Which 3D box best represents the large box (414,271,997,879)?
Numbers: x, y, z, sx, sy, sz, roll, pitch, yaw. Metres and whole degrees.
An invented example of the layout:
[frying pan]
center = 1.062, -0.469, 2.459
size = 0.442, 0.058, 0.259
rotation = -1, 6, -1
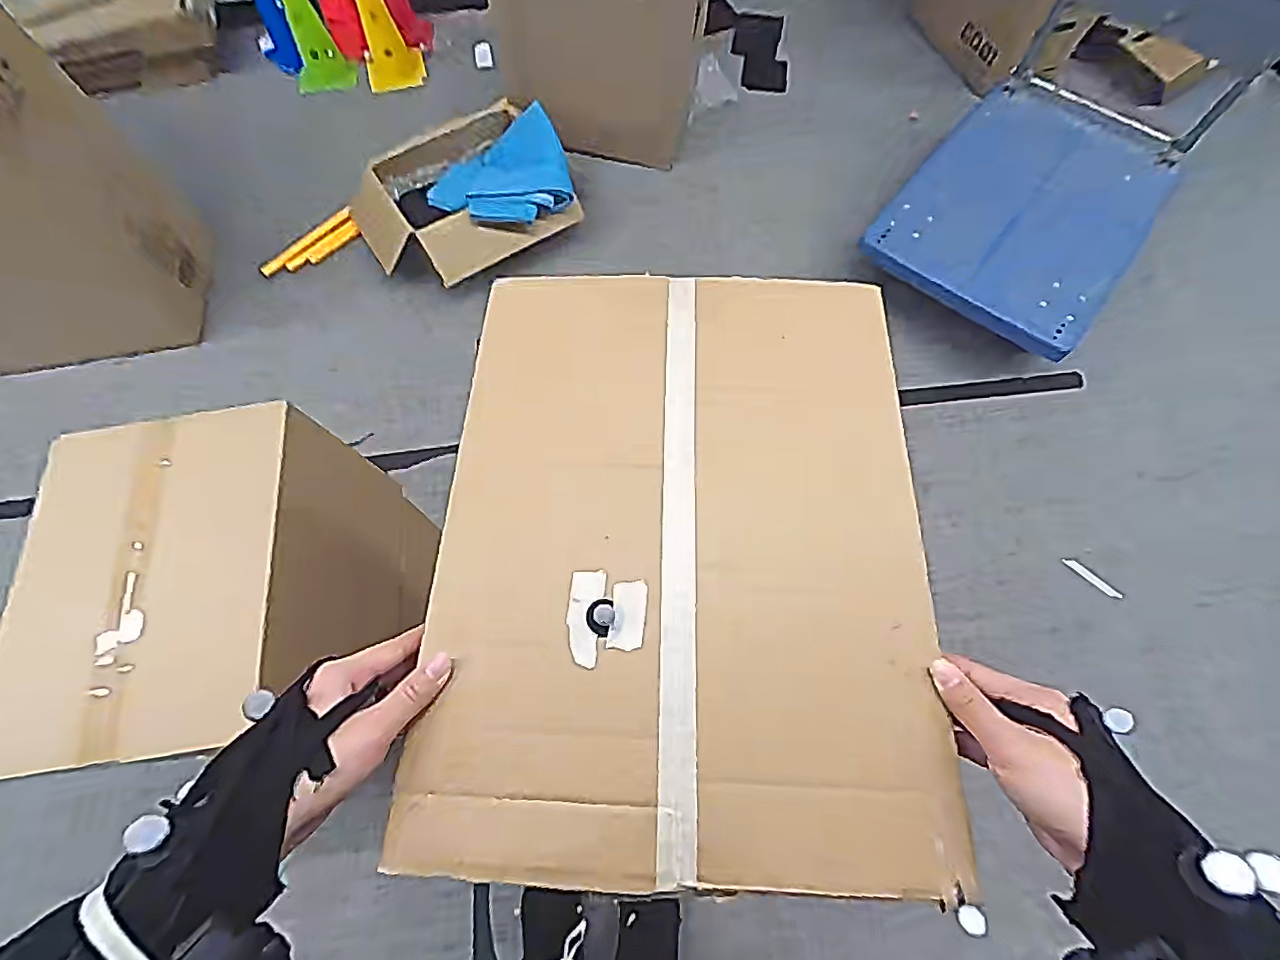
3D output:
[large box]
center = 0.036, 0.076, 0.493
size = 0.320, 0.320, 0.408
rotation = 1, 67, 2
